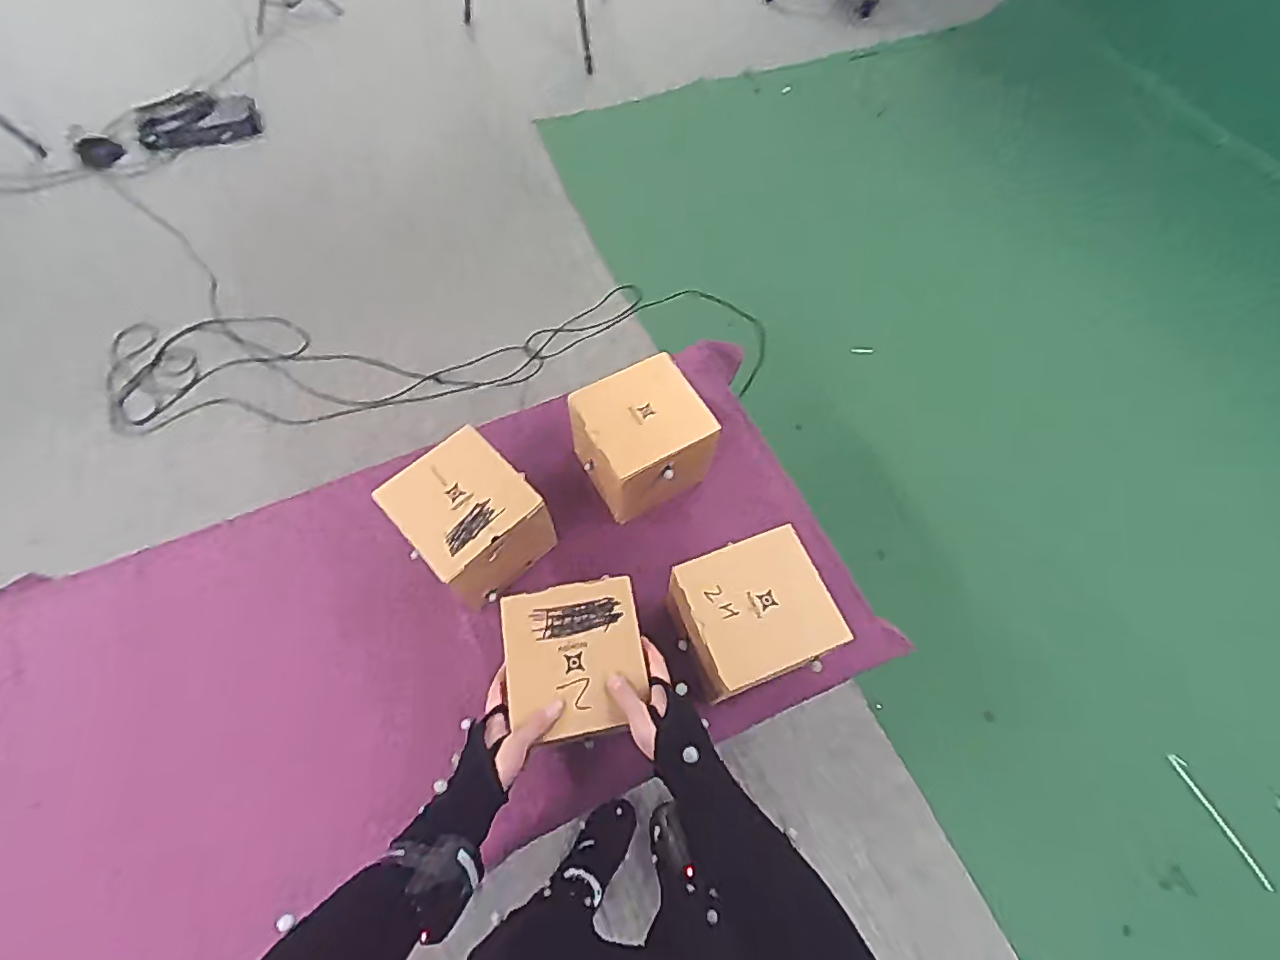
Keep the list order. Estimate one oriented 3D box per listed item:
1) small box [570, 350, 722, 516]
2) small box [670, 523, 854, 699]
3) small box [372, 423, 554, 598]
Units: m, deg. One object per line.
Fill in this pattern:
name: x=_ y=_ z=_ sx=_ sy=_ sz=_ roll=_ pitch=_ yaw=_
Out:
small box: x=0.006 y=-0.069 z=0.867 sx=0.179 sy=0.176 sz=0.168 roll=-28 pitch=69 yaw=-12
small box: x=0.151 y=0.185 z=0.742 sx=0.179 sy=0.176 sz=0.168 roll=-19 pitch=65 yaw=-9
small box: x=-0.247 y=0.056 z=0.802 sx=0.168 sy=0.176 sz=0.179 roll=-41 pitch=72 yaw=-18
